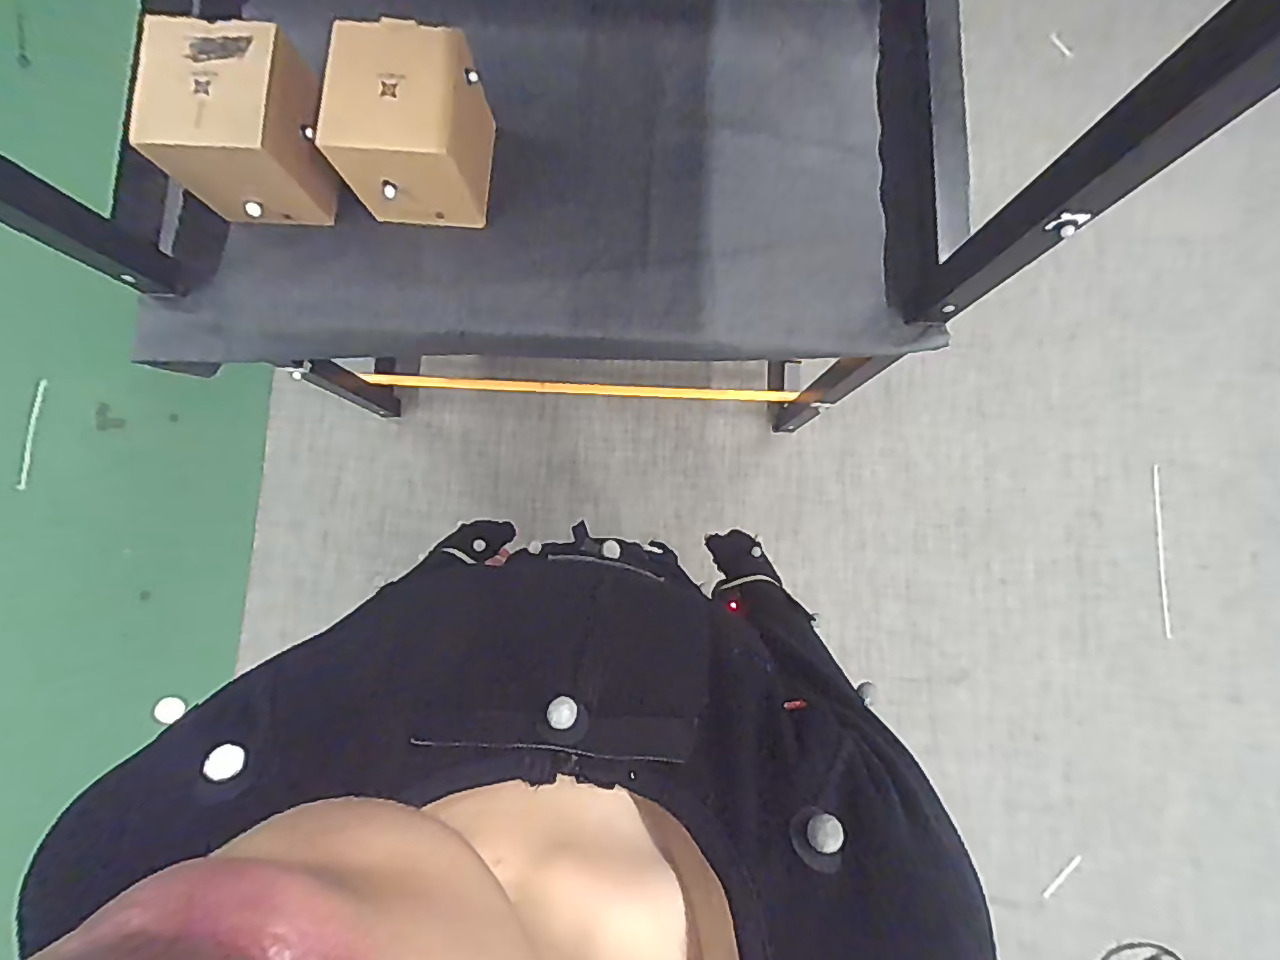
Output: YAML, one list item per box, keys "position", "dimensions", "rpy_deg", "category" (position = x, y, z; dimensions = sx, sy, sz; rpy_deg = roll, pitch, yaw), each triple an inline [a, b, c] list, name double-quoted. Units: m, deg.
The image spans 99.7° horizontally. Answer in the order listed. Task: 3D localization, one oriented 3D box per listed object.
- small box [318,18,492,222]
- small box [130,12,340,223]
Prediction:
- position: [-0.314, -0.490, 0.759]
  dimensions: [0.168, 0.176, 0.179]
  rpy_deg: [3, 83, -1]
  category: "small box"
- position: [-0.542, -0.491, 0.753]
  dimensions: [0.168, 0.176, 0.179]
  rpy_deg: [2, 84, -1]
  category: "small box"
